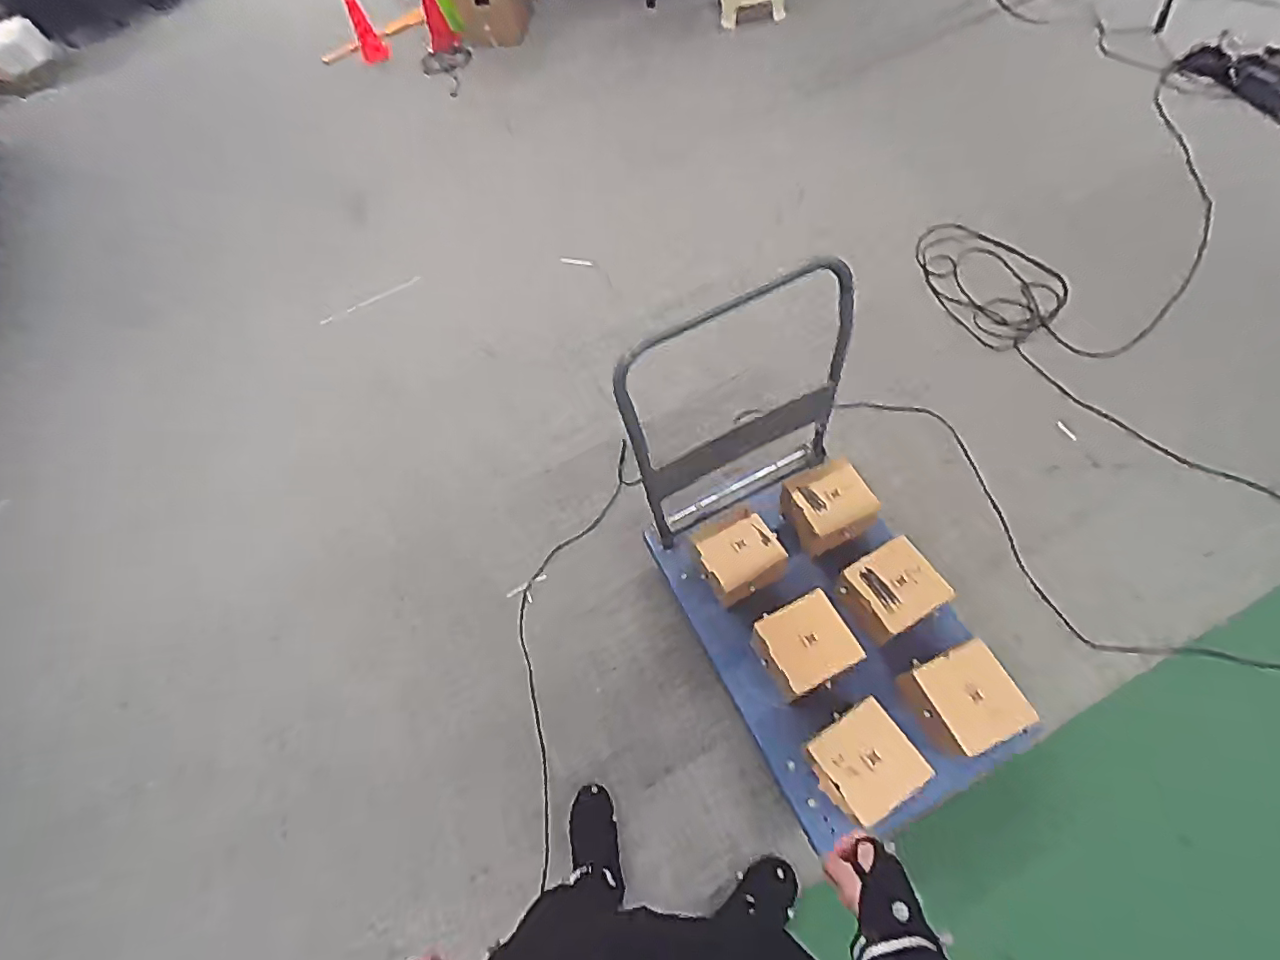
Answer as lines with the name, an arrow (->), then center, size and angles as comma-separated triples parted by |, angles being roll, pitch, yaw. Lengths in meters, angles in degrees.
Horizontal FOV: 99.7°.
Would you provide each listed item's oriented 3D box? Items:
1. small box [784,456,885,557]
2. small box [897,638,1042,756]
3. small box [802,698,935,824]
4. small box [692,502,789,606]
small box -> 0.482, 0.073, 1.377 | 0.179, 0.176, 0.168 | -24, 63, -5
small box -> 0.682, 0.465, 1.147 | 0.168, 0.176, 0.179 | -24, 62, -4
small box -> 0.457, 0.576, 1.116 | 0.179, 0.176, 0.168 | -27, 60, -5
small box -> 0.248, 0.191, 1.348 | 0.179, 0.176, 0.168 | -29, 63, -7
